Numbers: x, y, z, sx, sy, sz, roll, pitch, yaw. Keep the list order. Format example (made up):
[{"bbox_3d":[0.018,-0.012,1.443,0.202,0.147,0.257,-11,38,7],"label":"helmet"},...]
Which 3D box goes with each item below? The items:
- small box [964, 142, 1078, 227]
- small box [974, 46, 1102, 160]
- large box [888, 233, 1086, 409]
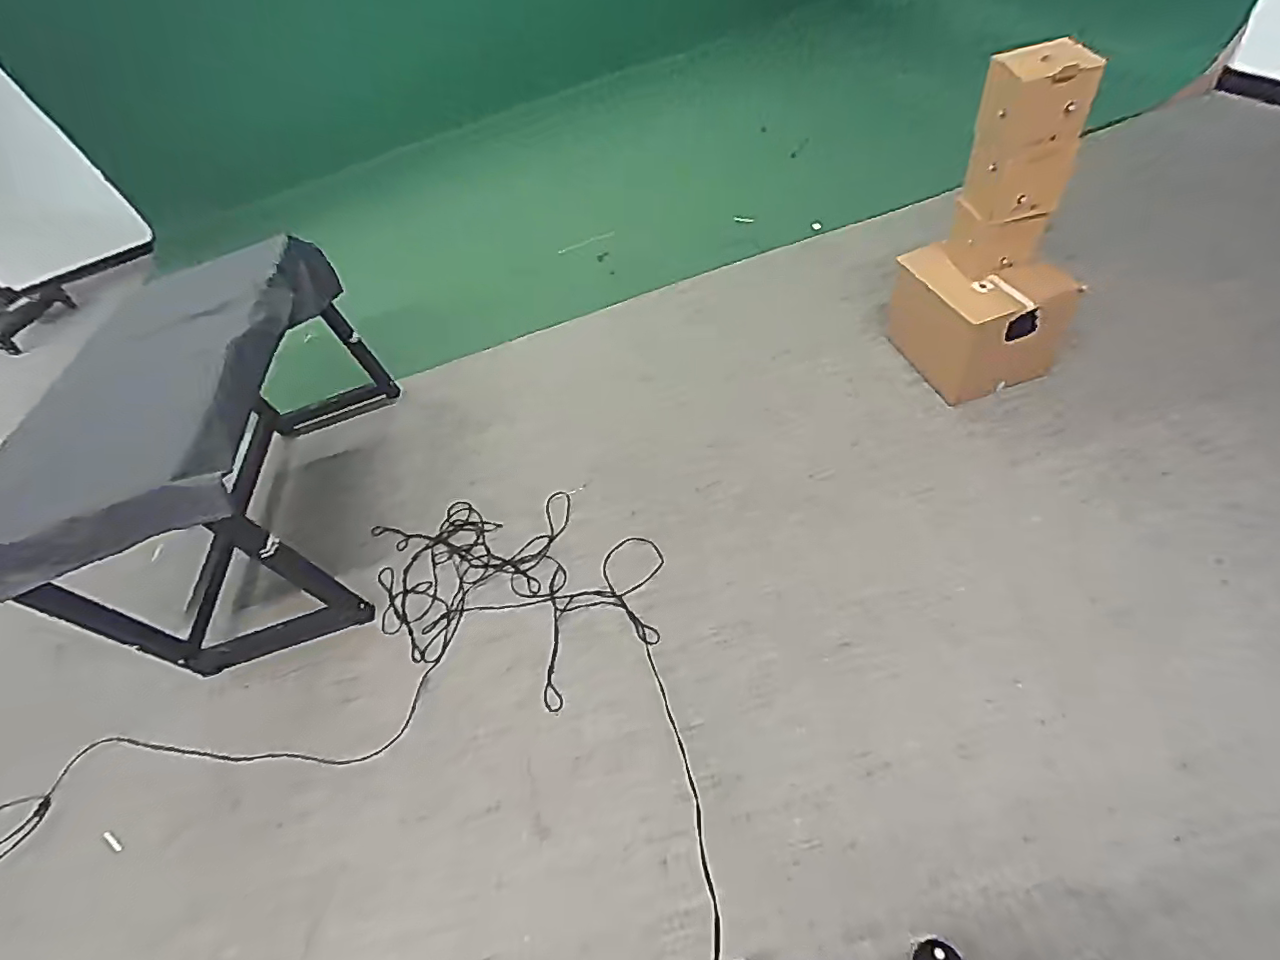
[{"bbox_3d":[0.978,-0.792,1.410,0.168,0.176,0.179,-10,51,9],"label":"small box"},{"bbox_3d":[0.934,-0.890,1.288,0.168,0.176,0.179,-9,51,8],"label":"small box"},{"bbox_3d":[1.039,-0.499,1.692,0.320,0.320,0.408,-20,50,2],"label":"large box"}]
